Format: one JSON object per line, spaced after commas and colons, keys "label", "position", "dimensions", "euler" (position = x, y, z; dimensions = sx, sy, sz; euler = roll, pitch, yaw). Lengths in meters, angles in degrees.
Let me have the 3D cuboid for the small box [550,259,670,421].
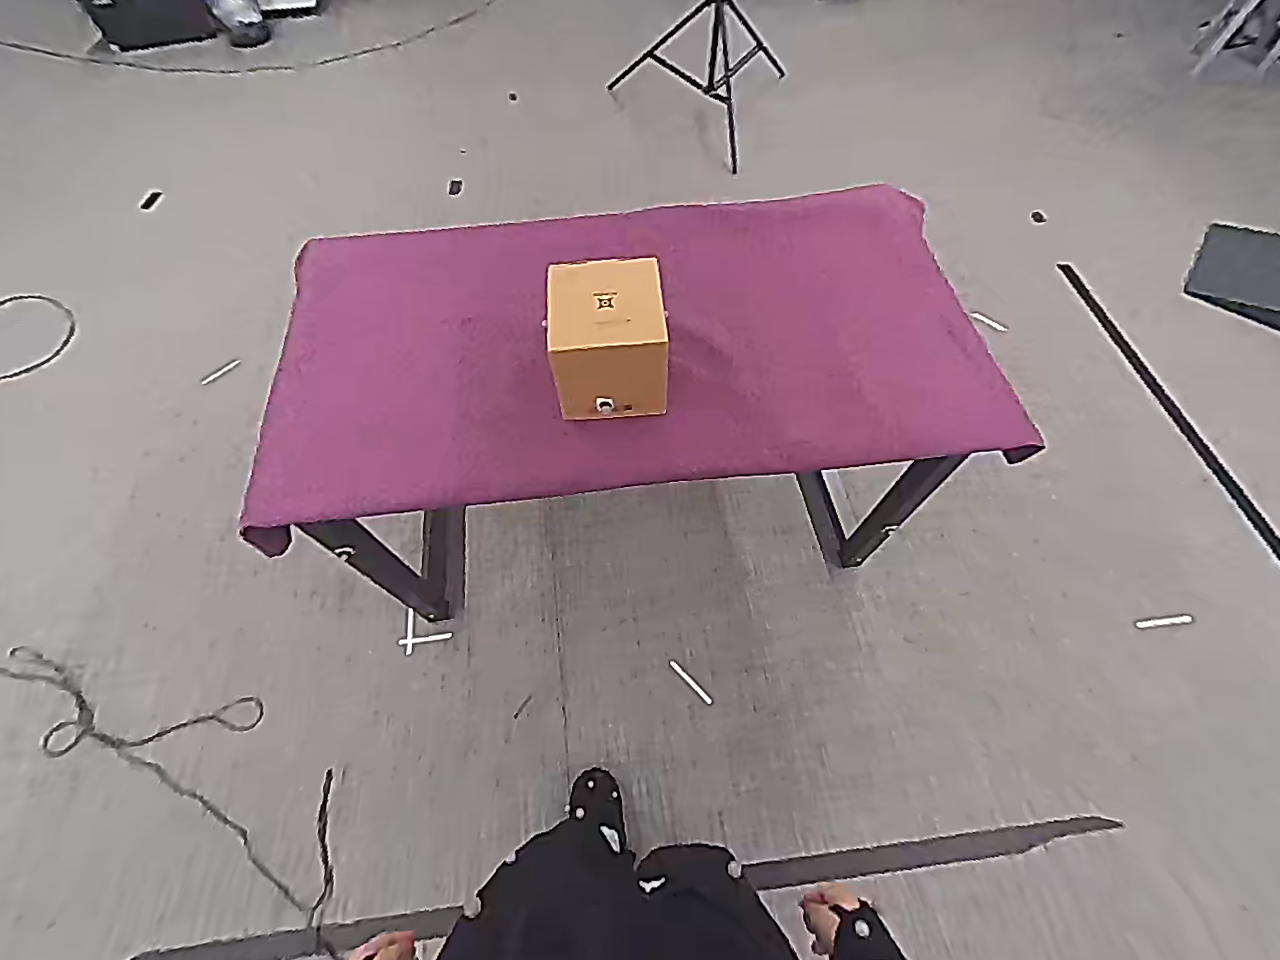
{"label": "small box", "position": [-0.047, -0.214, 0.842], "dimensions": [0.168, 0.176, 0.179], "euler": [-5, 61, -1]}
